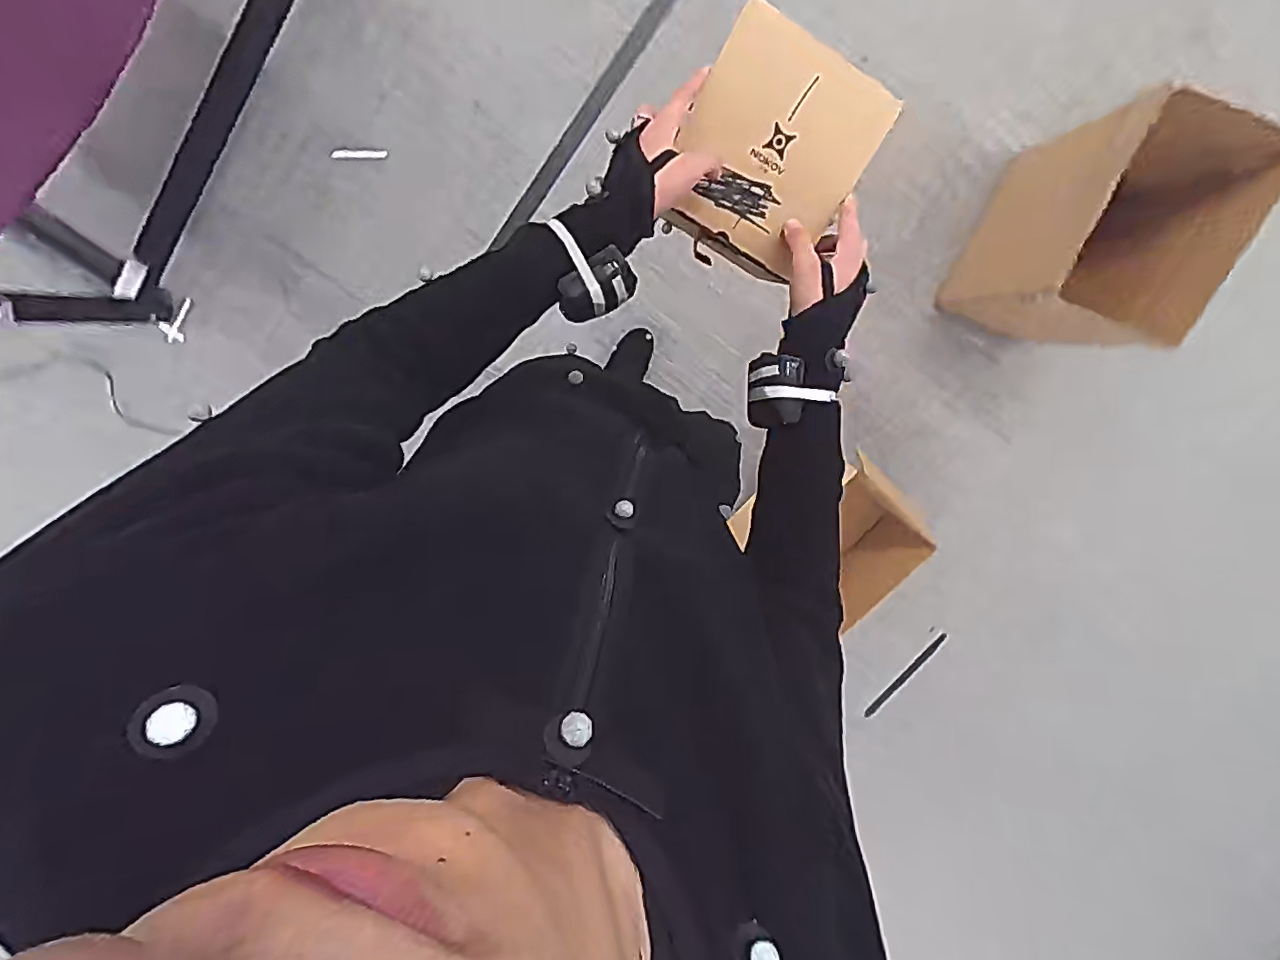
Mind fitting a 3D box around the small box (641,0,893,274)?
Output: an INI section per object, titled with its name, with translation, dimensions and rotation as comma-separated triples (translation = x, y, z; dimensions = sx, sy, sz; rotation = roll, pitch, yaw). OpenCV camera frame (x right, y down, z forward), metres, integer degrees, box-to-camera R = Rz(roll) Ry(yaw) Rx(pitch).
[small box]
translation = 0.114, -0.335, 0.562
dimensions = 0.168, 0.176, 0.179
rotation = 27, 109, -11
